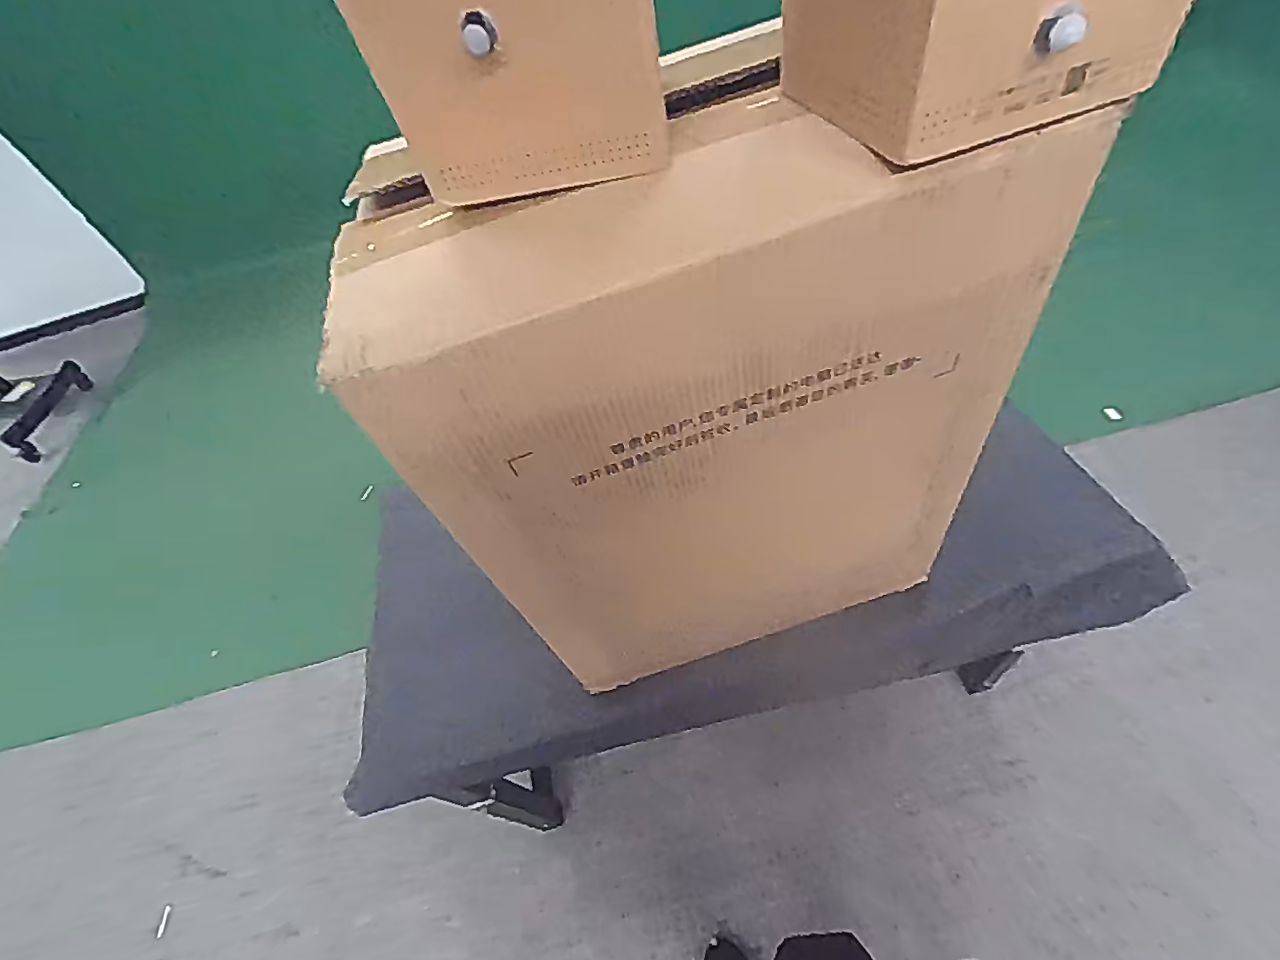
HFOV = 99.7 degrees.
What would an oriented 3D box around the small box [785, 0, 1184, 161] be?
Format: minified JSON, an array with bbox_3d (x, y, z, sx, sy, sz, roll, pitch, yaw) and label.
[{"bbox_3d":[0.194,-0.320,0.318,0.168,0.176,0.179,-19,51,-1],"label":"small box"}]

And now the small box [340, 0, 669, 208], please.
[{"bbox_3d":[-0.082,-0.315,0.368,0.179,0.176,0.168,-7,59,7],"label":"small box"}]
